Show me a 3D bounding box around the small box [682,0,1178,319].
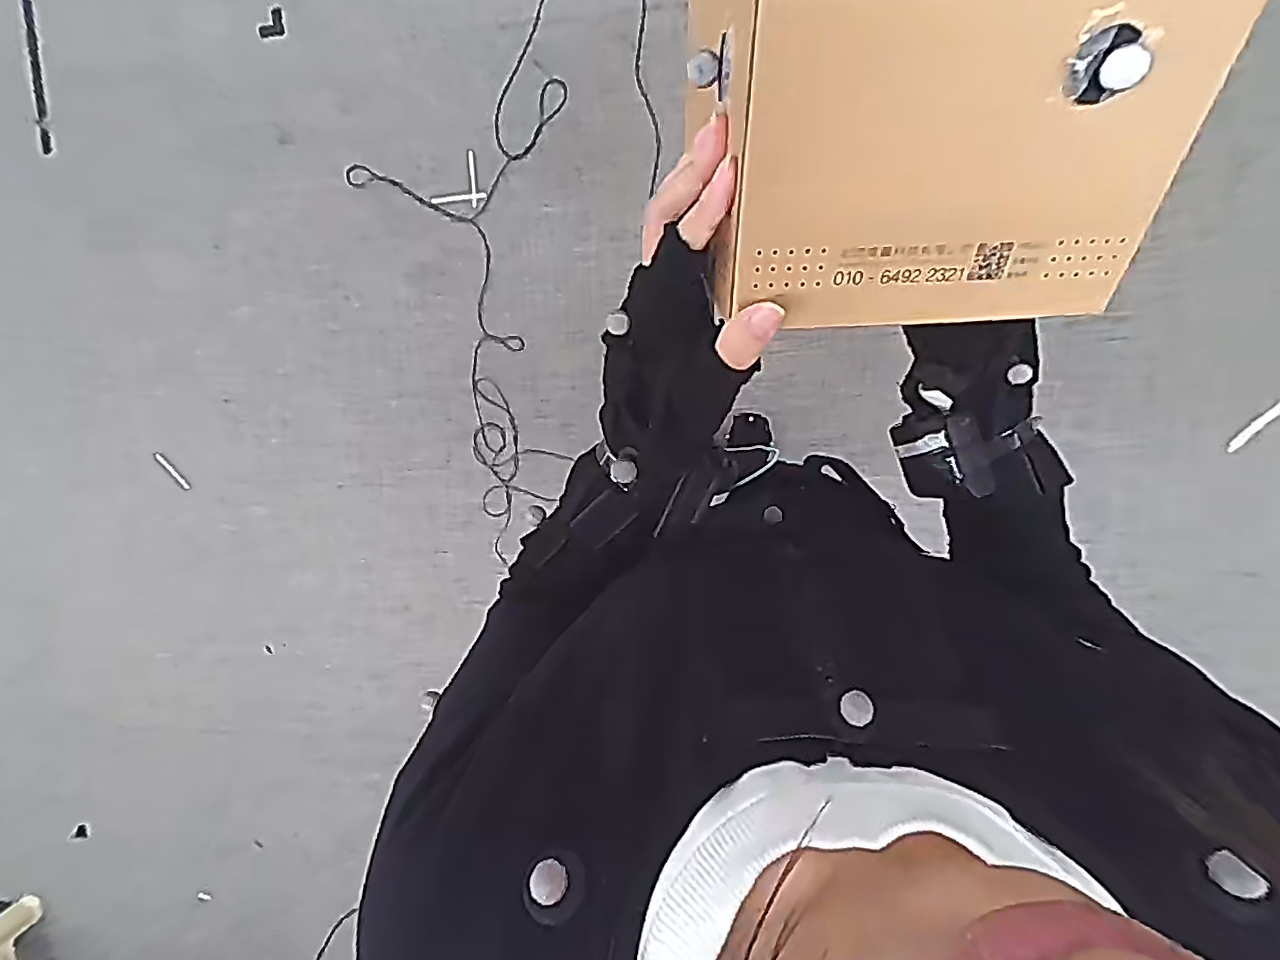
[{"bbox_3d":[0.111,-0.188,0.269,0.168,0.179,0.176,-2,128,-2],"label":"small box"}]
